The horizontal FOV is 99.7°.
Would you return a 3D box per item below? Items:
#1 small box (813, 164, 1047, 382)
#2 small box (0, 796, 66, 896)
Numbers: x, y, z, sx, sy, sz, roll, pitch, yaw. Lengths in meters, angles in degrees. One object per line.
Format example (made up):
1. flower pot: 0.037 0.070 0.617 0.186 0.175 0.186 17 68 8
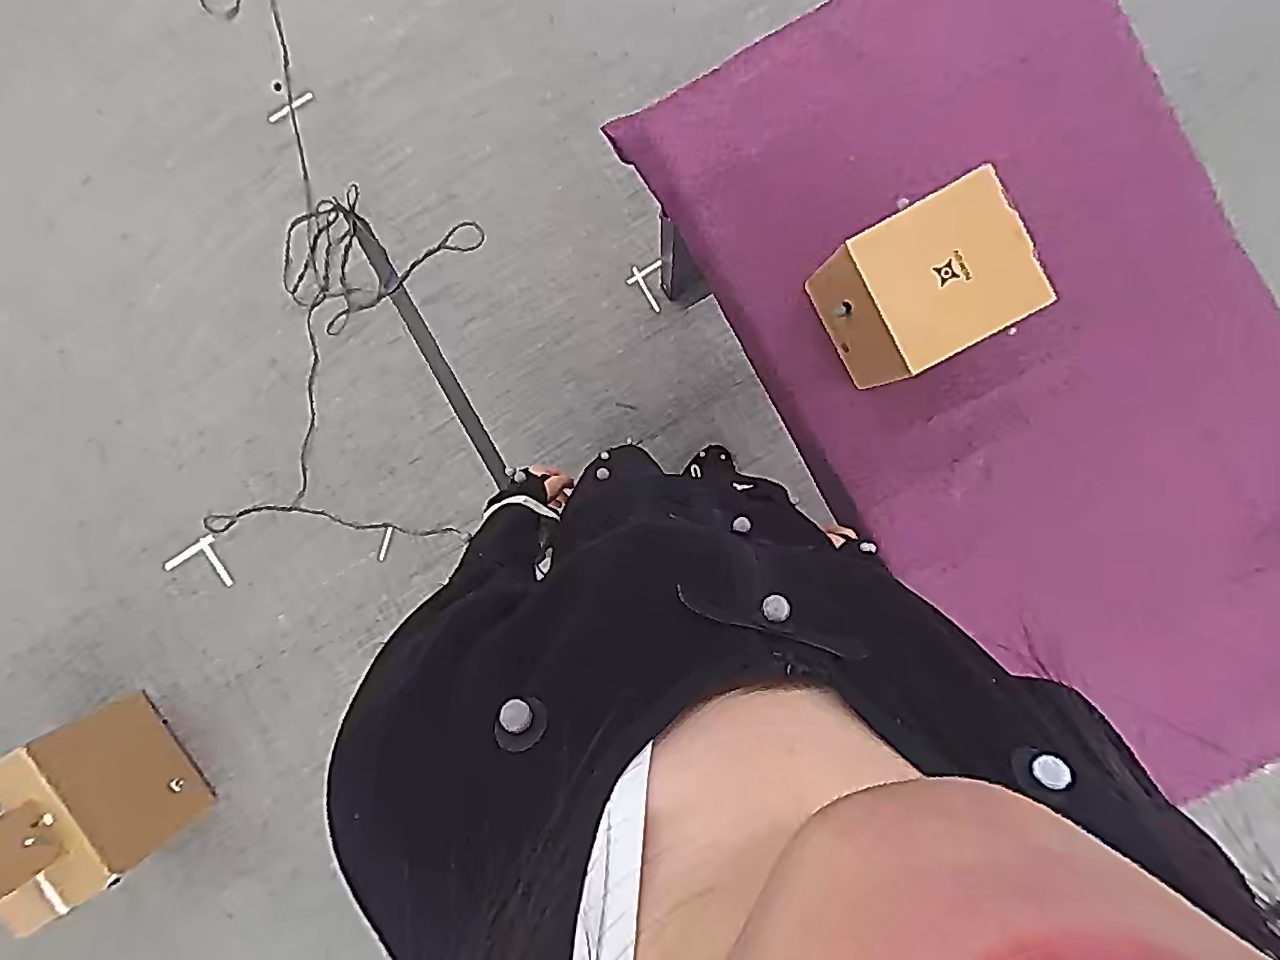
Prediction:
1. small box: 0.336 -0.237 0.671 0.179 0.176 0.168 -28 93 2
2. small box: -1.499 0.875 1.232 0.179 0.176 0.168 -32 93 3
